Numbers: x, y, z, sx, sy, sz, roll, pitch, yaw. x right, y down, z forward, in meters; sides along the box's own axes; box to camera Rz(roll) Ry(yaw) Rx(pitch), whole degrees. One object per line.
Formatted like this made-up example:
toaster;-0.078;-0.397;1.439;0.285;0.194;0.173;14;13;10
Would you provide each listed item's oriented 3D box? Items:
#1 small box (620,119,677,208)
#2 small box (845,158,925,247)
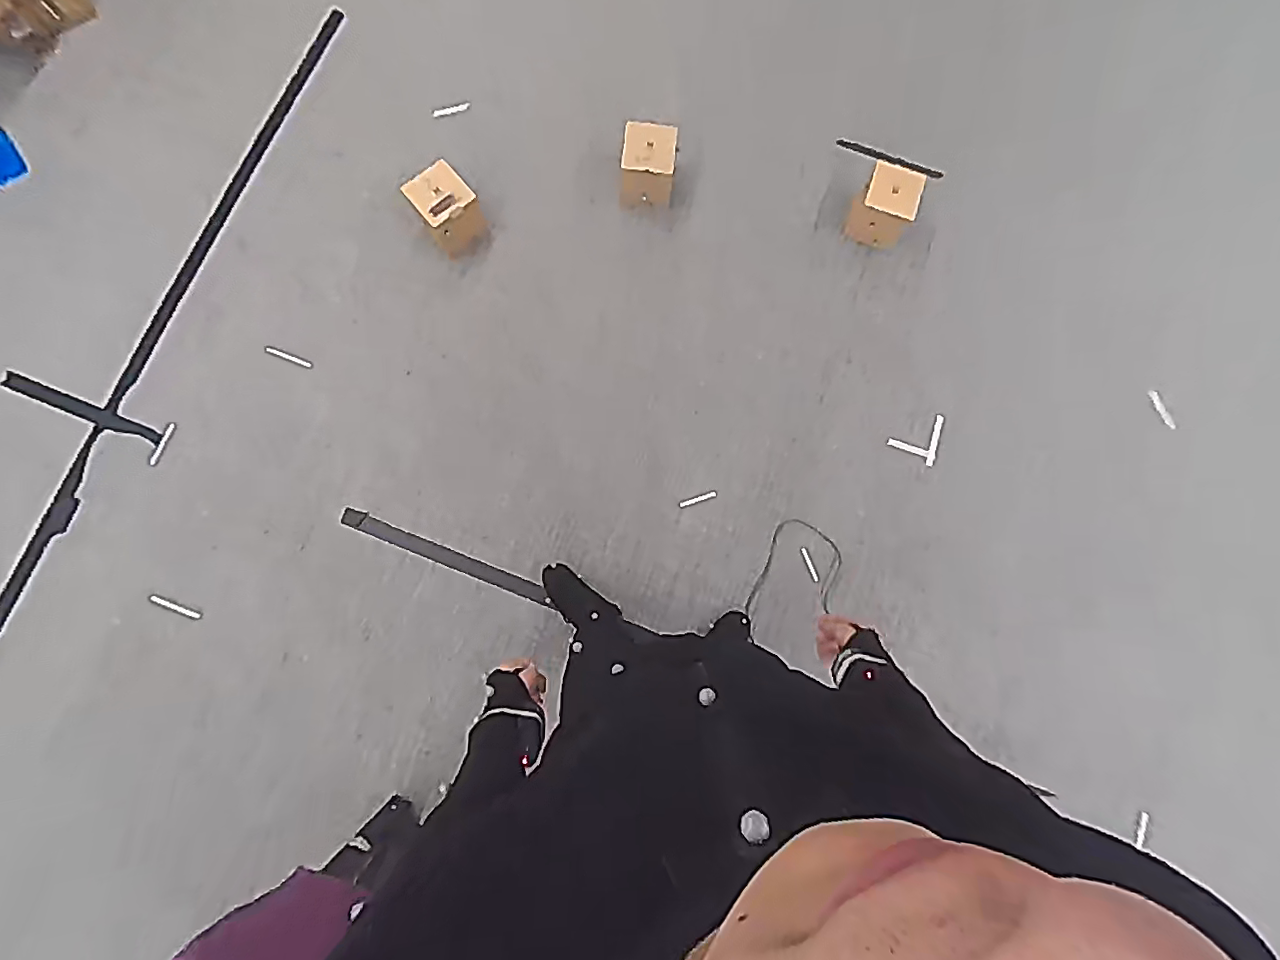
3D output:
small box;0.025;-1.031;1.771;0.168;0.176;0.179;6;81;-1
small box;0.801;-0.908;1.784;0.168;0.176;0.179;19;80;1
